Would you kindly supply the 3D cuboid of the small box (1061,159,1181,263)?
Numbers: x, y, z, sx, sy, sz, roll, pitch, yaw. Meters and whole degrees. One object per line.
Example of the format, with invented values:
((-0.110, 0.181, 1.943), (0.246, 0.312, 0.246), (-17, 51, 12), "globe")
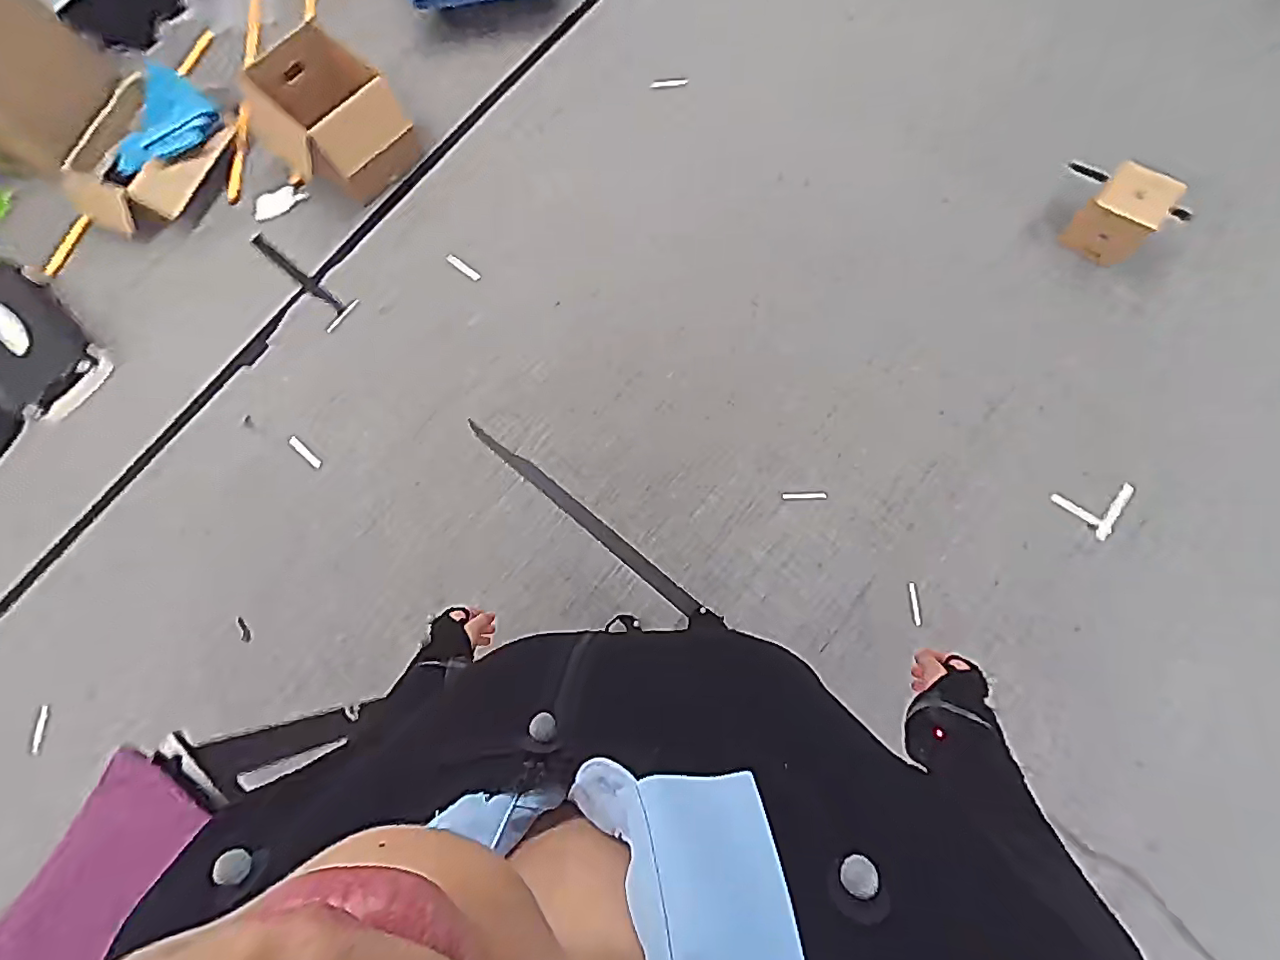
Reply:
((1.367, -0.764, 1.553), (0.168, 0.176, 0.179), (35, 81, 14), "small box")
